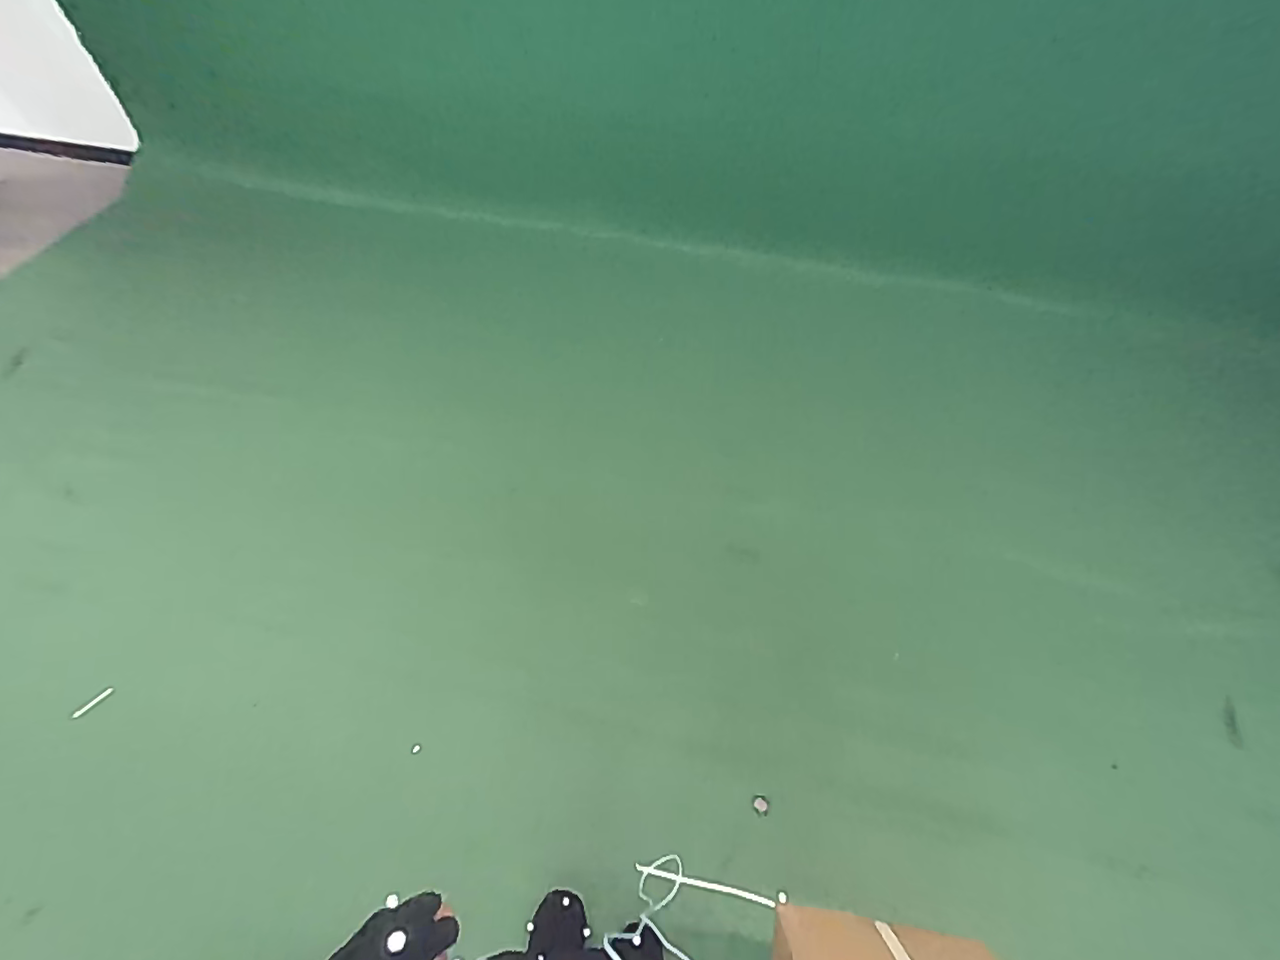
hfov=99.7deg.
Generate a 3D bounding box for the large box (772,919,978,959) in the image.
[{"bbox_3d":[0.332,0.816,0.609,0.320,0.408,0.320,10,82,3],"label":"large box"}]
